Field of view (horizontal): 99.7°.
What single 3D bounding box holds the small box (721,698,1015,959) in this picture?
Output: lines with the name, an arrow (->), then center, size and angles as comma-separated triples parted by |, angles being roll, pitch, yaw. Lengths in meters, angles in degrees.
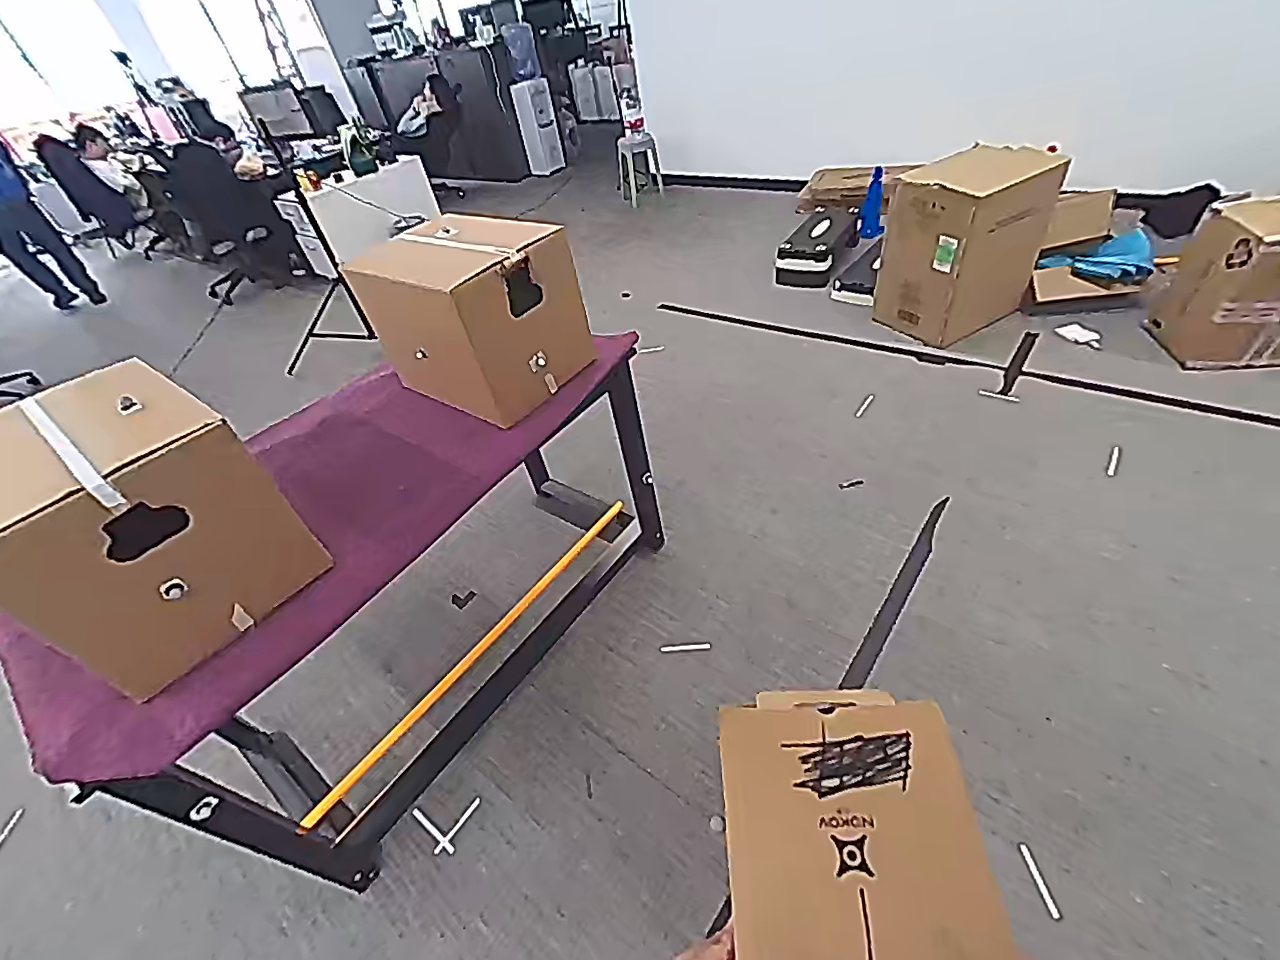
small box -> 0.151, 0.287, 0.425 | 0.168, 0.176, 0.179 | -5, 52, 8

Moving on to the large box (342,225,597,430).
large box -> -0.367, -0.358, 1.230 | 0.408, 0.320, 0.320 | 21, 51, 33
